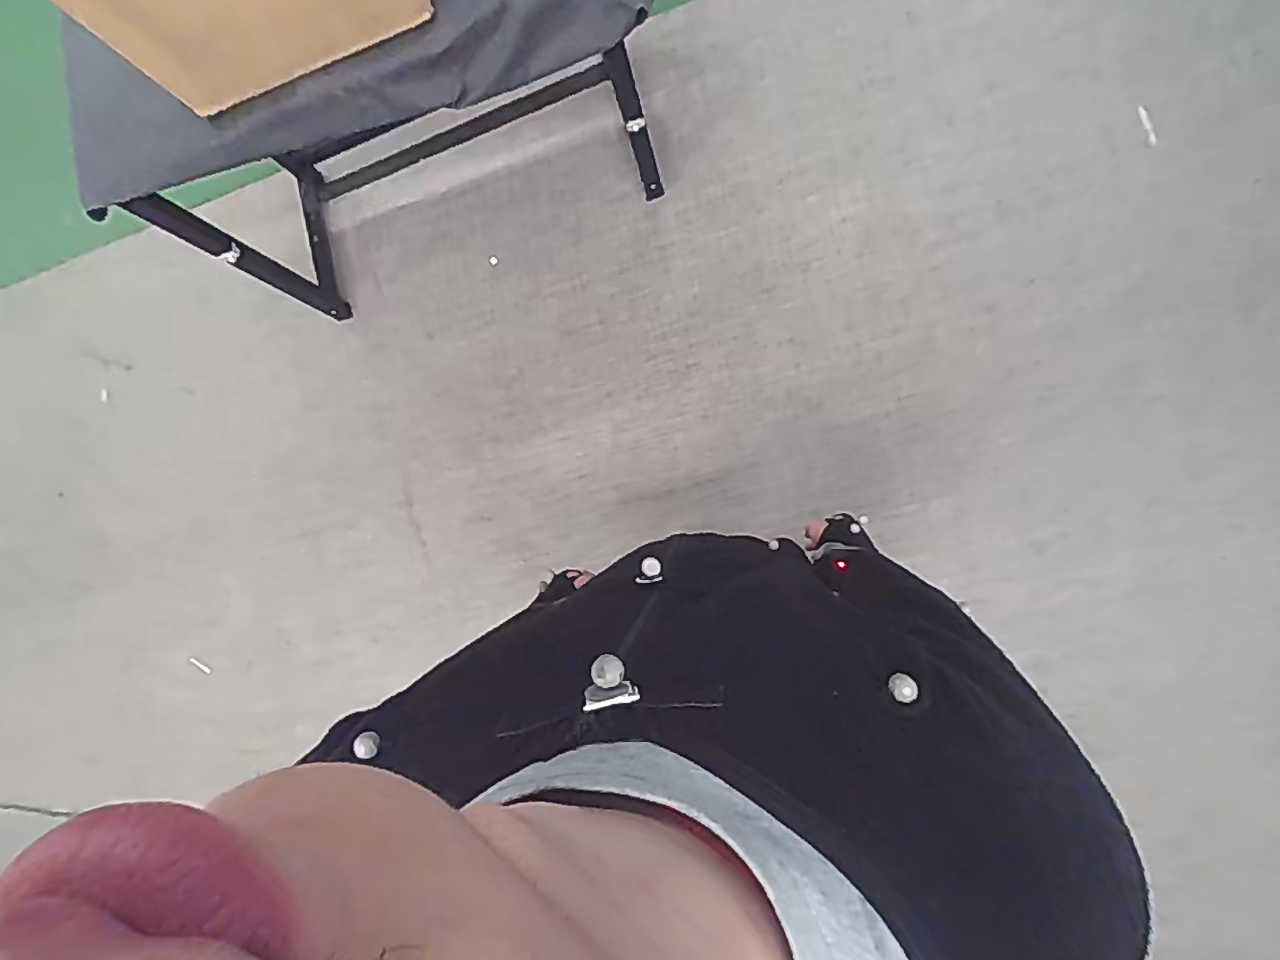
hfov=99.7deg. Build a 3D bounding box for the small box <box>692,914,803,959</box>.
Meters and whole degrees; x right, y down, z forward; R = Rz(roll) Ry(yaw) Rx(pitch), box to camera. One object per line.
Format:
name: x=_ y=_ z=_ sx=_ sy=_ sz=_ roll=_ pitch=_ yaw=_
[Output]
small box: x=0.175 y=0.797 z=0.792 sx=0.168 sy=0.176 sz=0.179 roll=-18 pitch=83 yaw=8
